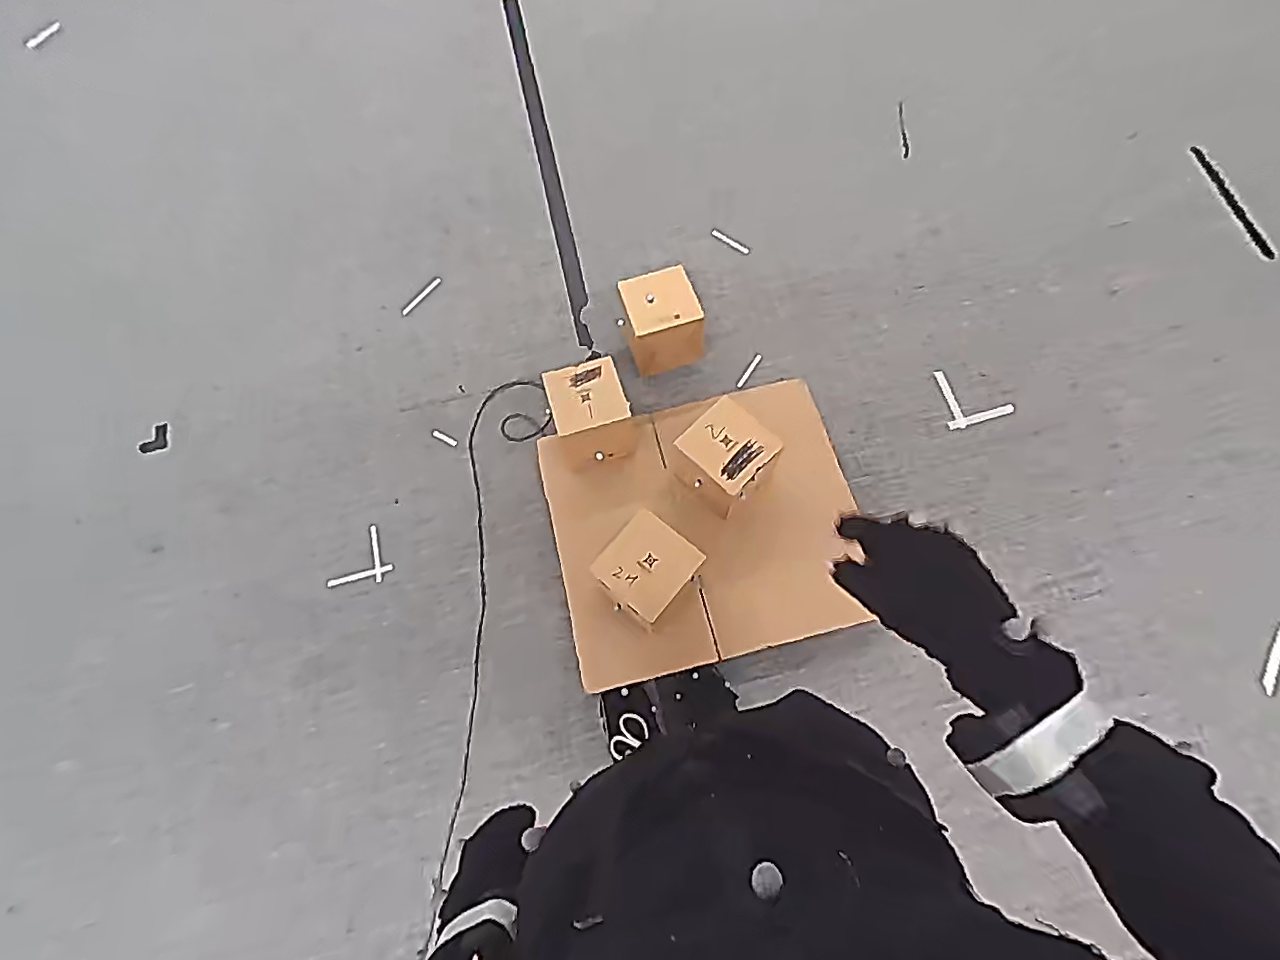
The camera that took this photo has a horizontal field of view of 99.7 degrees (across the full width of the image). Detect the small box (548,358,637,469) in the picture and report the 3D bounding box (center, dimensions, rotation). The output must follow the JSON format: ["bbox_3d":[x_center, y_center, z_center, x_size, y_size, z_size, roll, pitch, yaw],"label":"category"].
[{"bbox_3d":[-0.108,-0.152,1.271,0.168,0.176,0.179,-16,66,-5],"label":"small box"}]

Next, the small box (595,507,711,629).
[{"bbox_3d":[0.025,0.191,1.139,0.168,0.176,0.179,39,75,15],"label":"small box"}]
